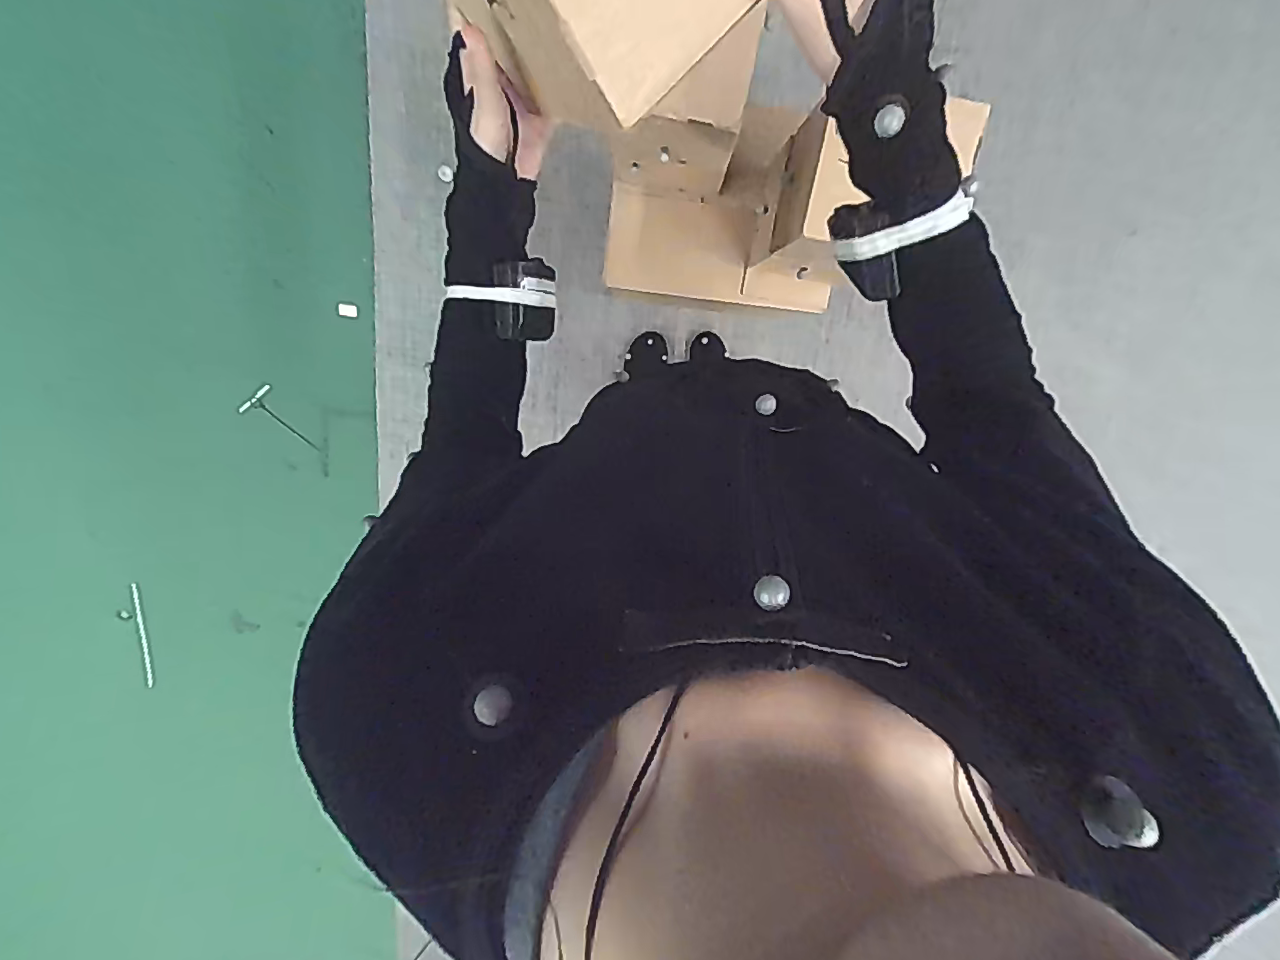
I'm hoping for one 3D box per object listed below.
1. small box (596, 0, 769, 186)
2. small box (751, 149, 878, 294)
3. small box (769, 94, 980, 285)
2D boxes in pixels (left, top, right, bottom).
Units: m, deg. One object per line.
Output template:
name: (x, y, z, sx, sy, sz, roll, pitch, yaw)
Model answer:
small box: (0.049, -0.497, 0.672, 0.168, 0.176, 0.179, 12, 104, 0)
small box: (0.283, -0.394, 0.855, 0.179, 0.176, 0.168, 10, 106, 0)
small box: (0.283, -0.355, 0.697, 0.179, 0.176, 0.168, 10, 104, -1)
